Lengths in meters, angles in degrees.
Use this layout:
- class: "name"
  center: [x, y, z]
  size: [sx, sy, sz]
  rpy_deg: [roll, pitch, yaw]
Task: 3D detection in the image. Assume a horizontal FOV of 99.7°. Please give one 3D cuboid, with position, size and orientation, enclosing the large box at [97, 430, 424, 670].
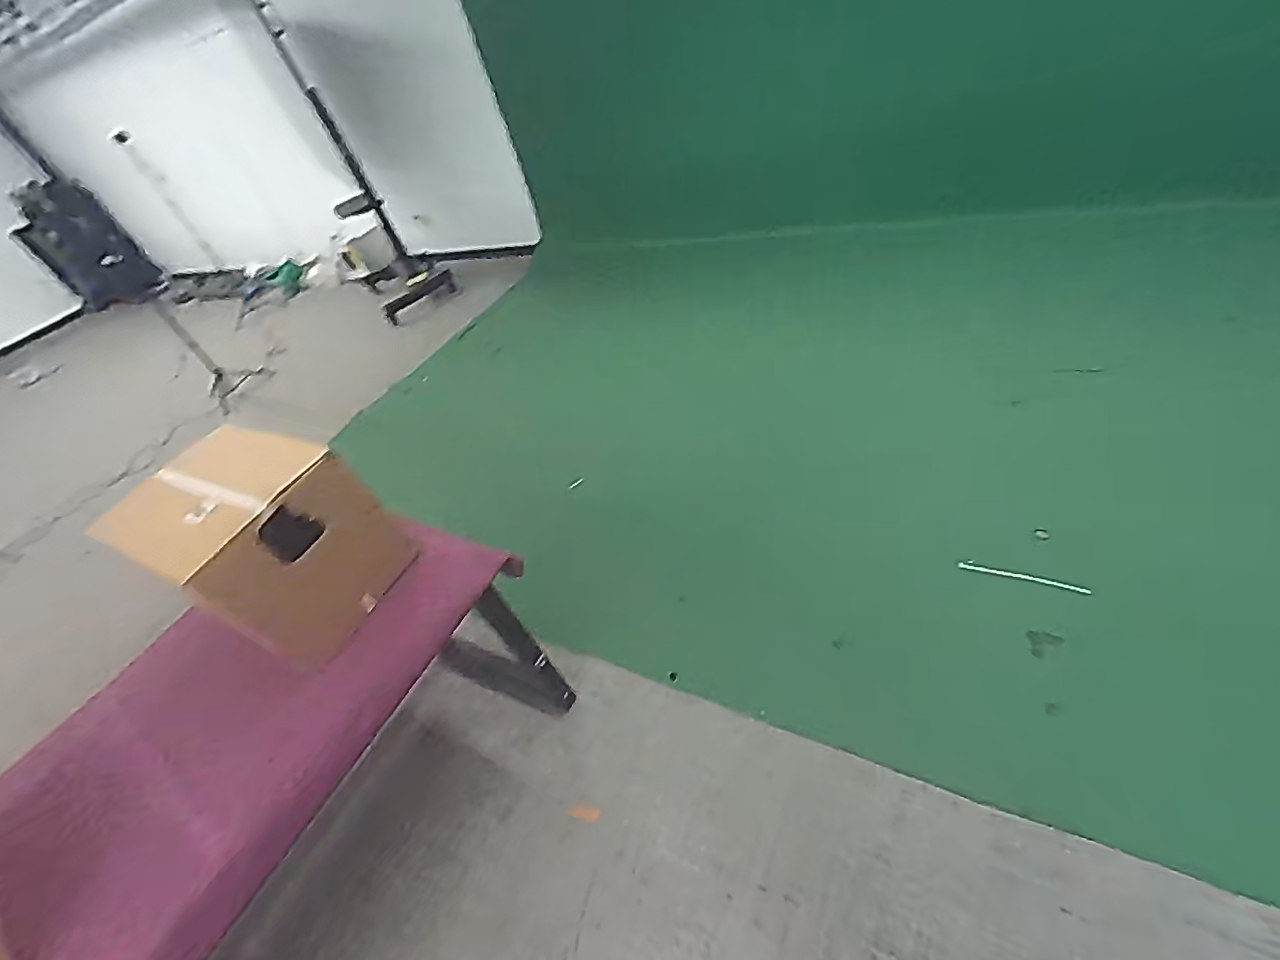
- class: "large box"
  center: [-0.746, 0.129, 1.105]
  size: [0.408, 0.320, 0.320]
  rpy_deg: [11, 52, 28]
